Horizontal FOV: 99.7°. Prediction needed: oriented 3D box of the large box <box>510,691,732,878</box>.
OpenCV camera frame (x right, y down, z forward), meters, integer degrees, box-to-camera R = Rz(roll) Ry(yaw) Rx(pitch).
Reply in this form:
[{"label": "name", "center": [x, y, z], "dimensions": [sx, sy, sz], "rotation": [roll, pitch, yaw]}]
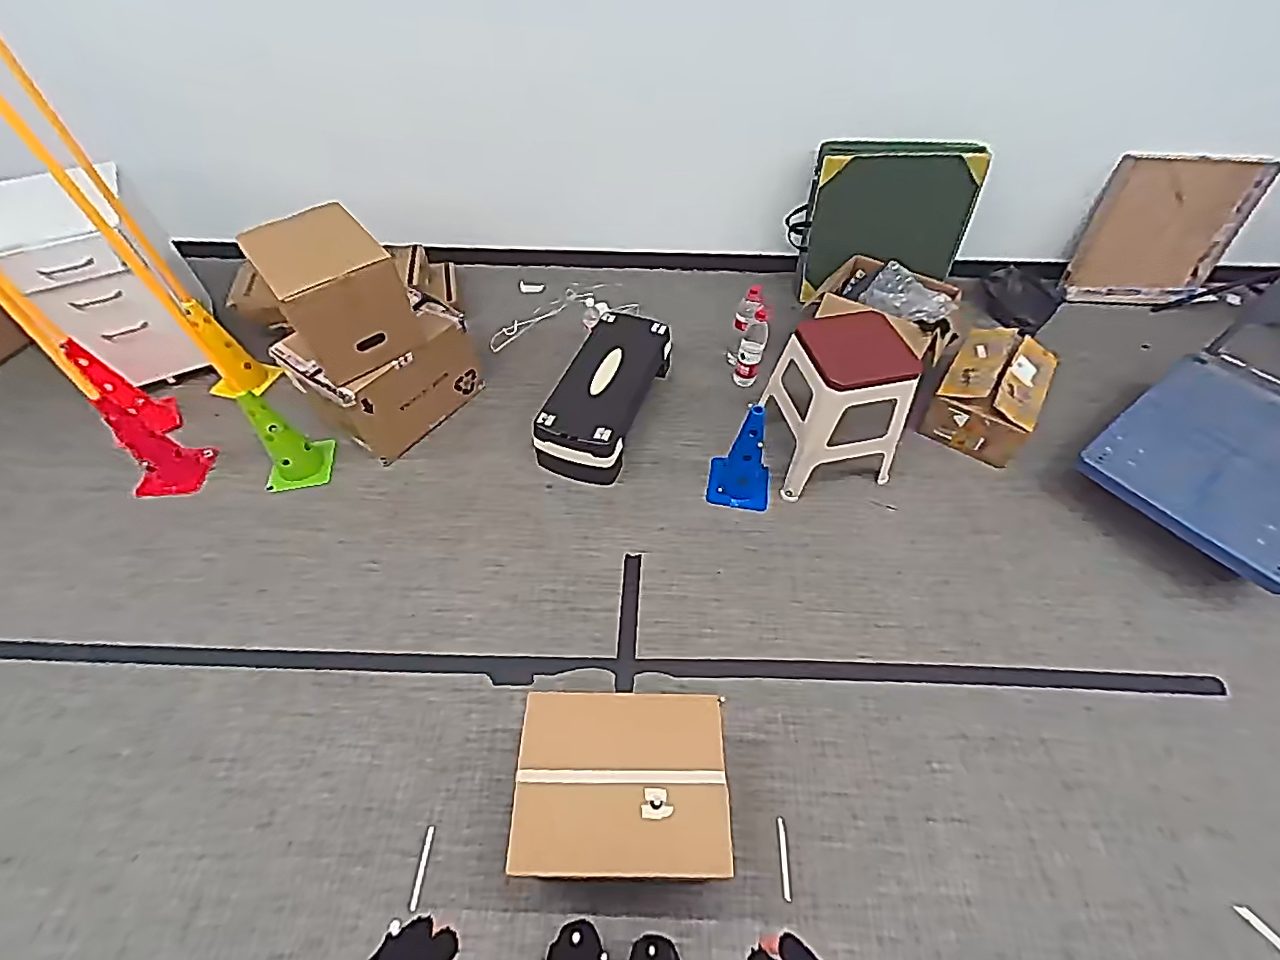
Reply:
[{"label": "large box", "center": [-0.040, 0.659, 1.161], "dimensions": [0.408, 0.320, 0.320], "rotation": [2, 53, -1]}]
